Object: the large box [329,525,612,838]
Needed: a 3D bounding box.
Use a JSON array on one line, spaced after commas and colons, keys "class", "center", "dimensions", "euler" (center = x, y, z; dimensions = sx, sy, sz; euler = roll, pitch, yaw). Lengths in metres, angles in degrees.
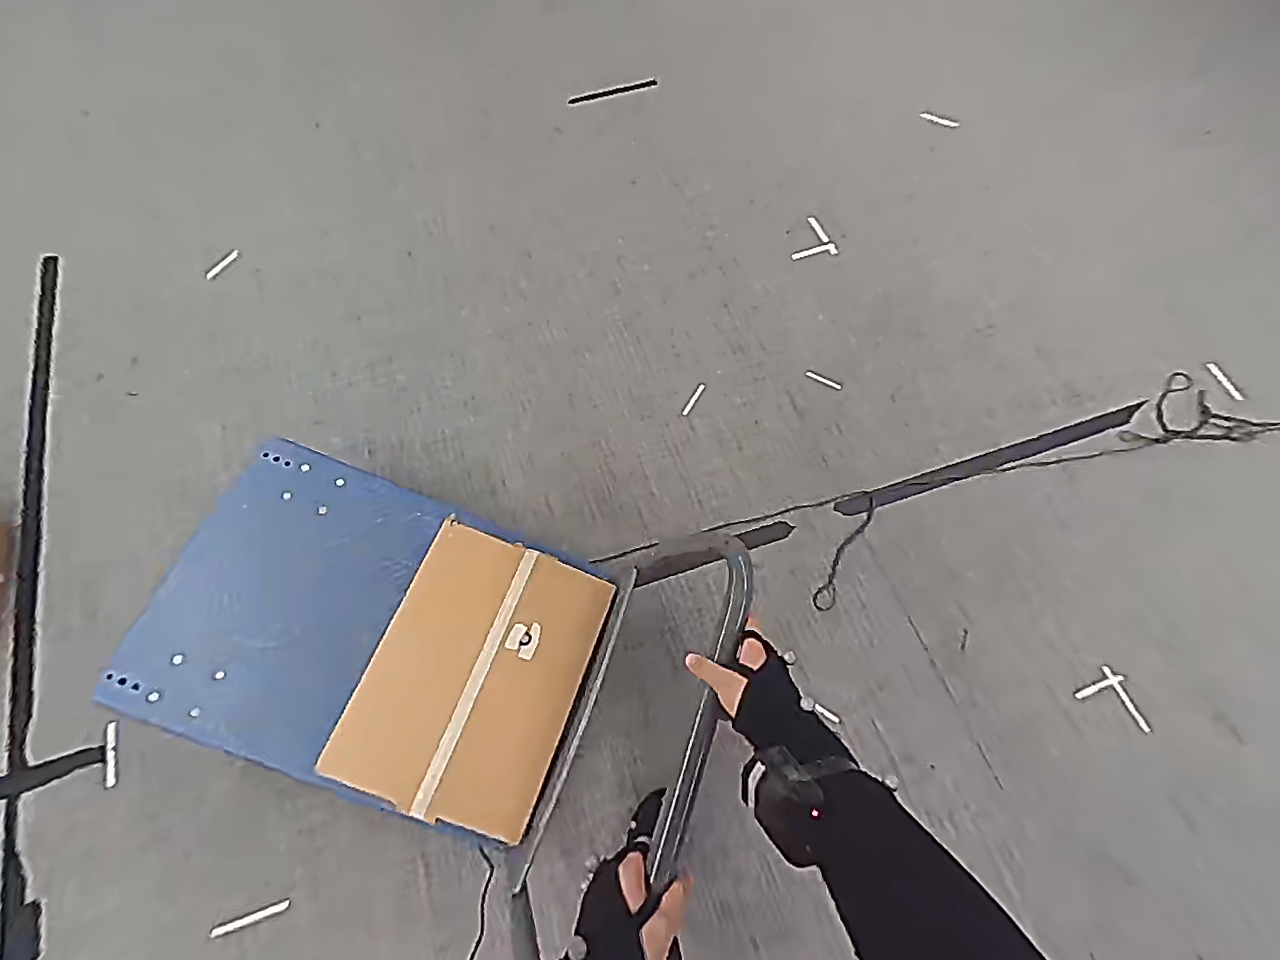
[{"class": "large box", "center": [-0.276, 0.352, 0.991], "dimensions": [0.320, 0.320, 0.408], "euler": [22, 67, -4]}]
